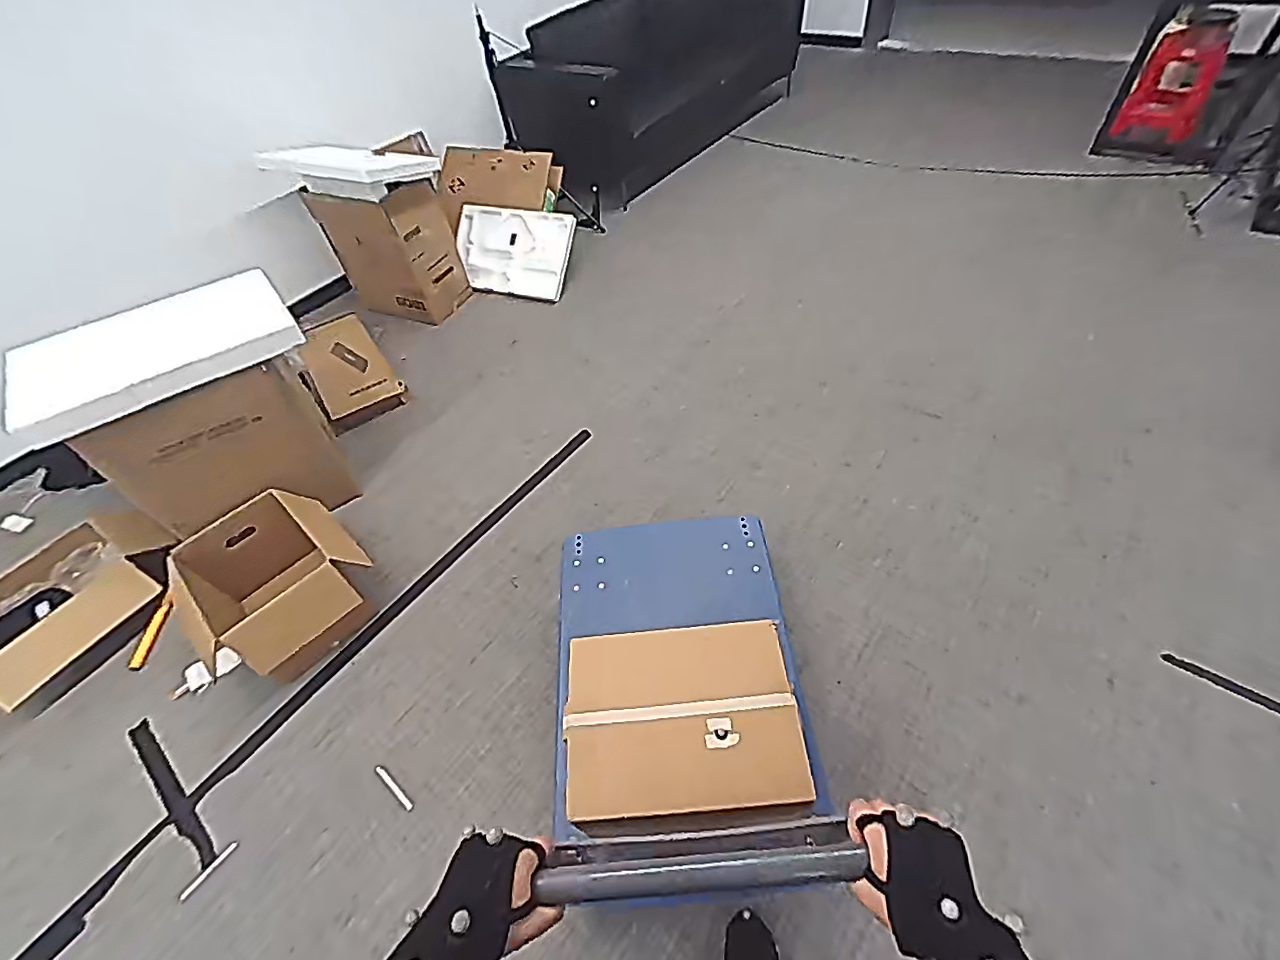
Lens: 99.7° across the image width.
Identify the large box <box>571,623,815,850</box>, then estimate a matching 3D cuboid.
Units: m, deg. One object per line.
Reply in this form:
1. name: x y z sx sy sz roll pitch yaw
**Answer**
1. large box: 0.084 0.513 1.074 0.408 0.320 0.320 -6 50 1
